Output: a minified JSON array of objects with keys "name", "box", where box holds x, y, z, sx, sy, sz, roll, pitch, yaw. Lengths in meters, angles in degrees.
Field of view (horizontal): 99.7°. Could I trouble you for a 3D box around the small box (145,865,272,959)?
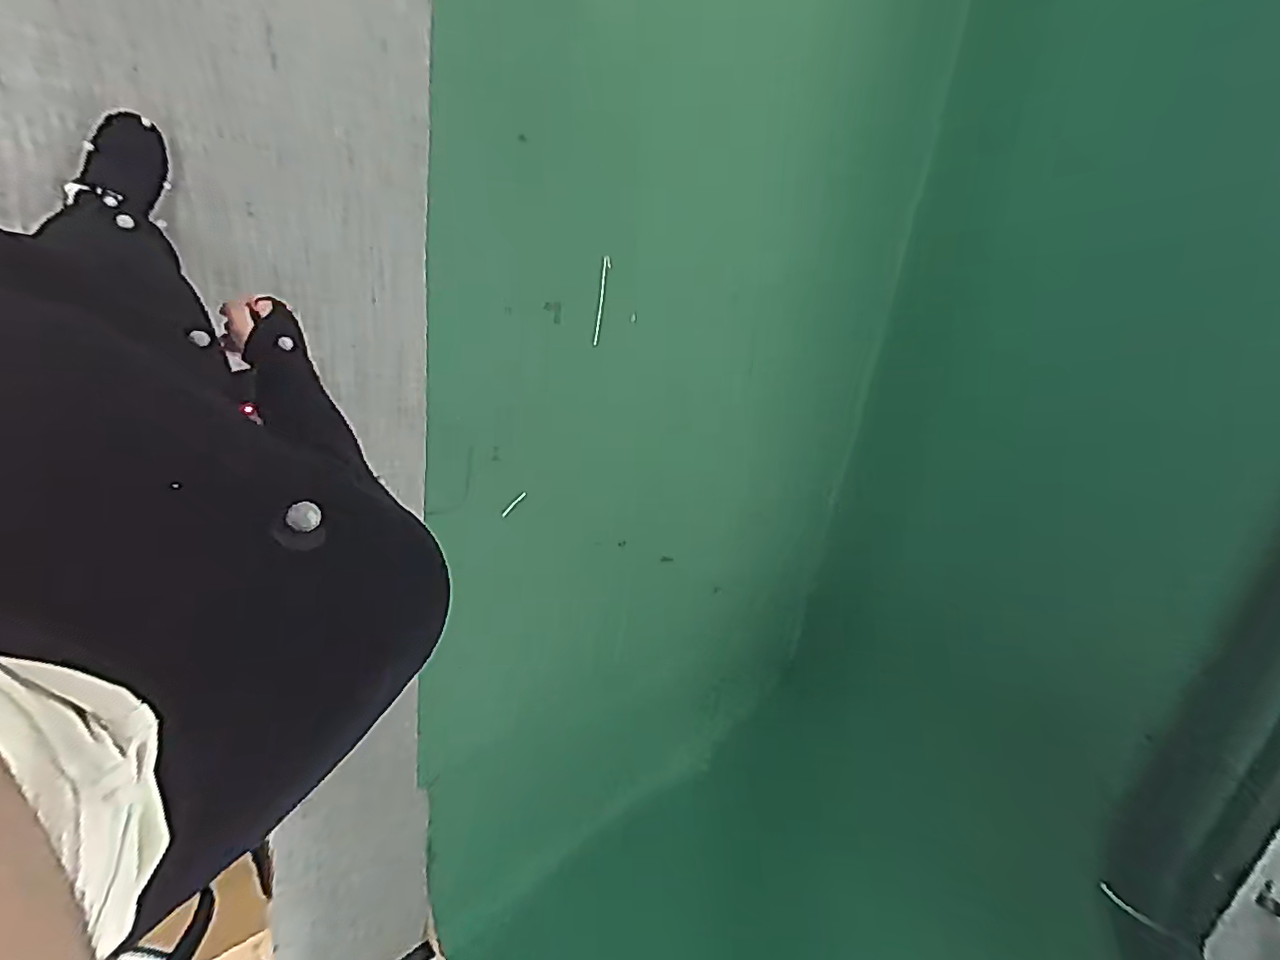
[{"name":"small box","box":[-0.825,0.903,1.035,0.179,0.176,0.168,-7,113,-43]}]
